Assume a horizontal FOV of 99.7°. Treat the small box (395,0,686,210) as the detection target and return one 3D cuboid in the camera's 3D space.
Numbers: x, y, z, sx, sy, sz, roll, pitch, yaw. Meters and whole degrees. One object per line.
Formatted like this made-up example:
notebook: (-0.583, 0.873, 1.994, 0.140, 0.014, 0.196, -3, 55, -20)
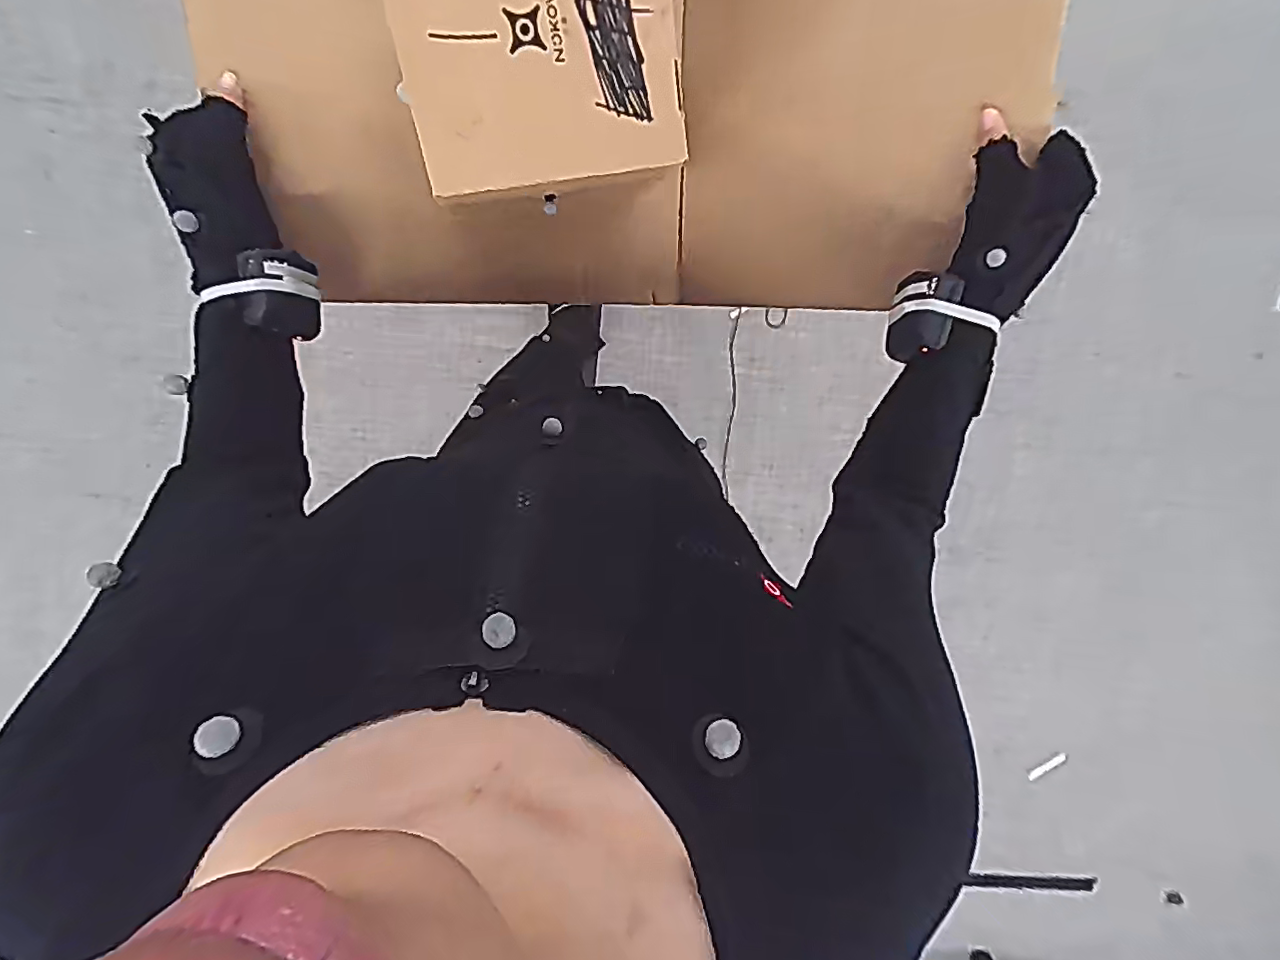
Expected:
small box: (-0.078, -0.315, 0.417, 0.179, 0.176, 0.168, -12, 112, -7)
